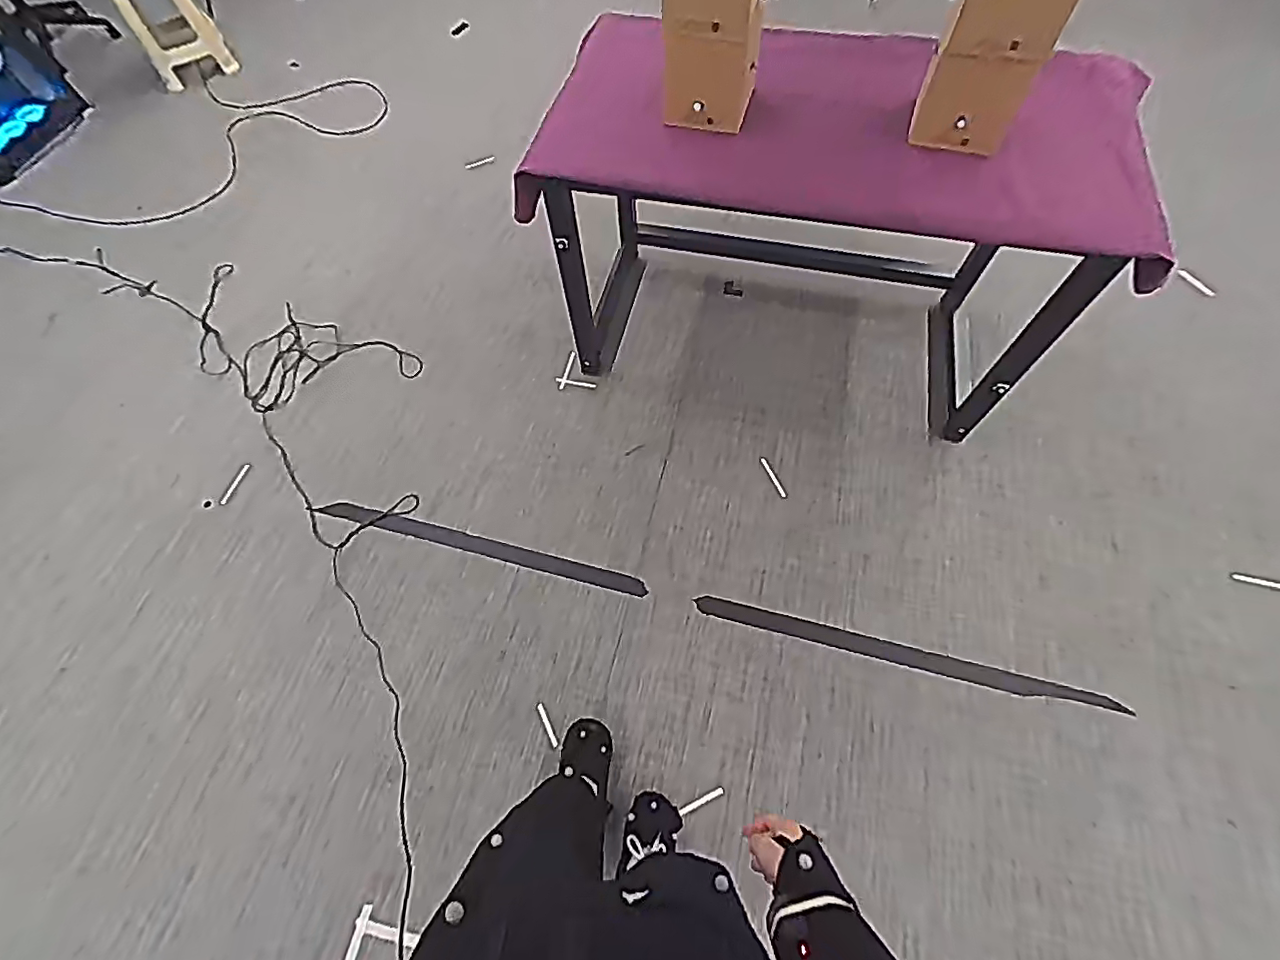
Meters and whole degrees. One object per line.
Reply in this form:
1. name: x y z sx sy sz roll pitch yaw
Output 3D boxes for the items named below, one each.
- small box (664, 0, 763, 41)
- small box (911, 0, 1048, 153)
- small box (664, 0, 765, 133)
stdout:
1. small box: 0.139 -0.928 0.961 0.168 0.176 0.179 14 65 10
2. small box: 0.645 -0.774 1.042 0.168 0.176 0.179 17 66 12
3. small box: 0.148 -0.855 1.108 0.168 0.176 0.179 13 66 9
